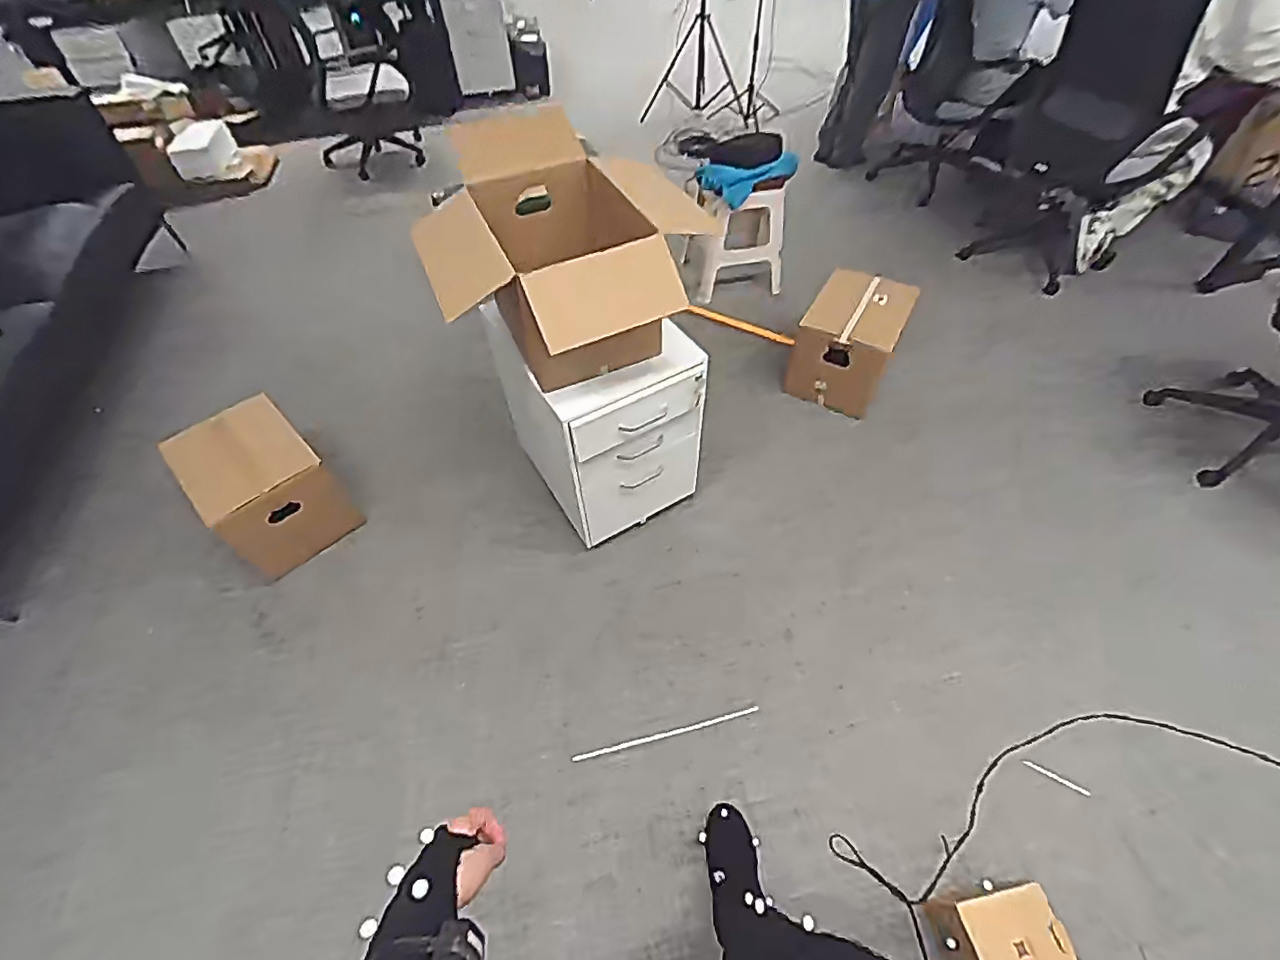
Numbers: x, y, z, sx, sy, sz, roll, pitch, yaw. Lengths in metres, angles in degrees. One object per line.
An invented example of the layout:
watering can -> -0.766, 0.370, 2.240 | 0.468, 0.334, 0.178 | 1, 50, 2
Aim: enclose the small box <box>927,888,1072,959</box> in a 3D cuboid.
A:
small box -> 0.677, 0.895, 1.023 | 0.179, 0.176, 0.168 | -9, 53, -7
